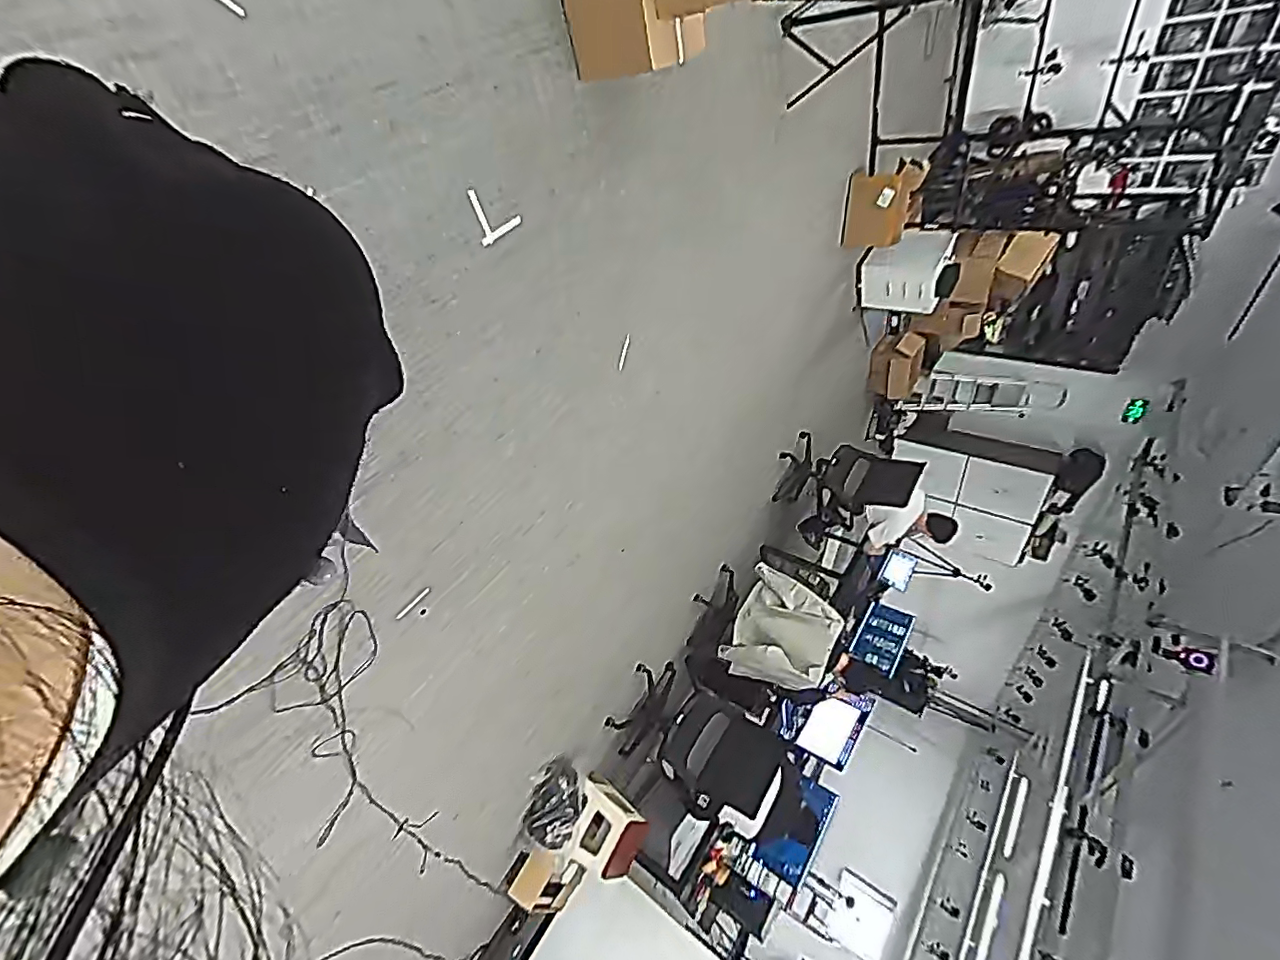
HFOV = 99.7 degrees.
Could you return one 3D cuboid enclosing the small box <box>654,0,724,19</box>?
[{"bbox_3d":[0.140,-1.446,1.529,0.168,0.176,0.179,-47,141,-28],"label":"small box"}]
